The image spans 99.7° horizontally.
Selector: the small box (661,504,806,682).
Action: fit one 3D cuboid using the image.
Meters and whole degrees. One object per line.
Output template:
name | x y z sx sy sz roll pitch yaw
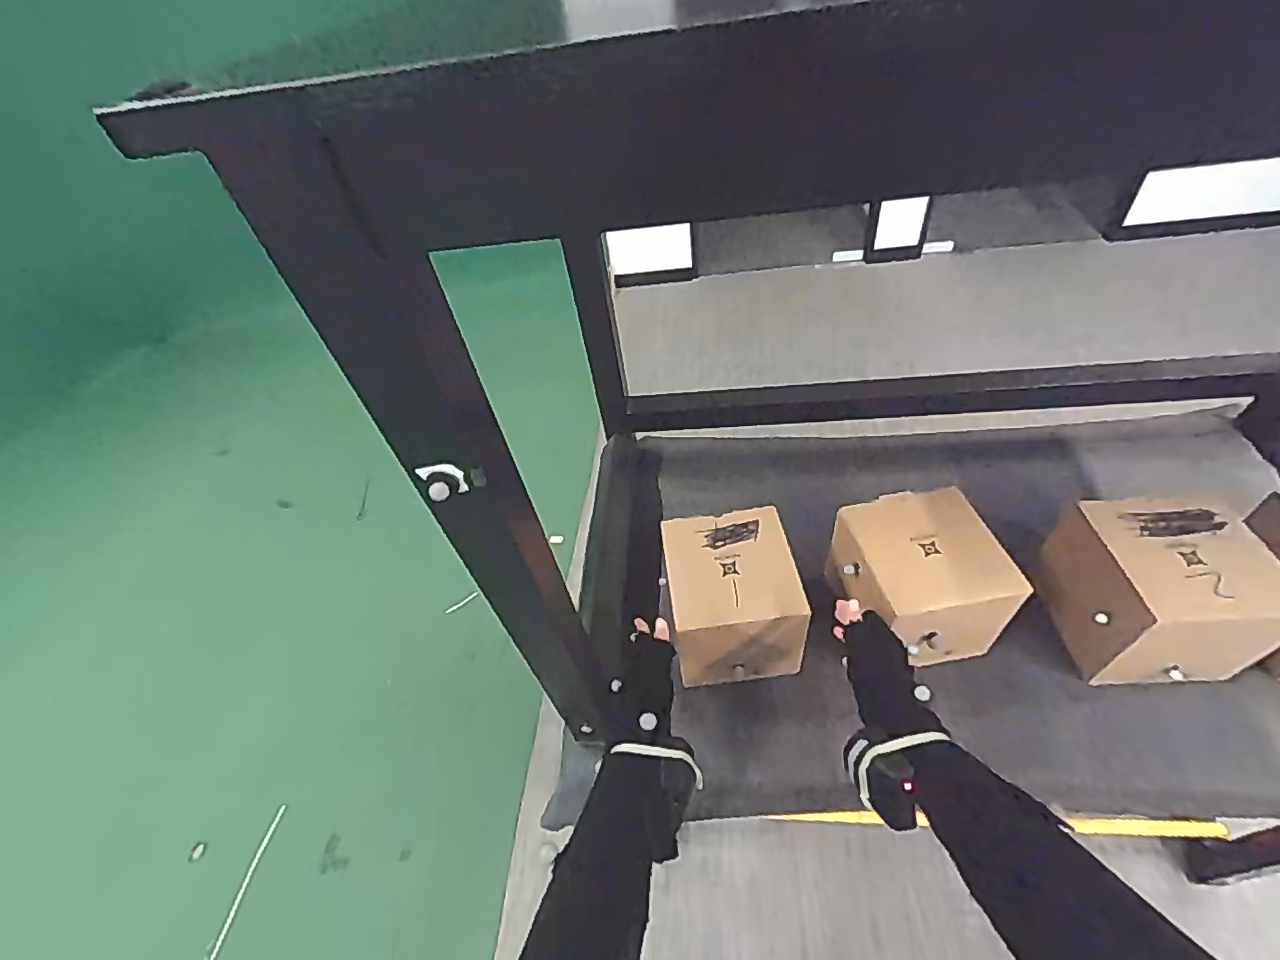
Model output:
small box | 0.124 0.161 0.765 0.168 0.176 0.179 -8 47 3
